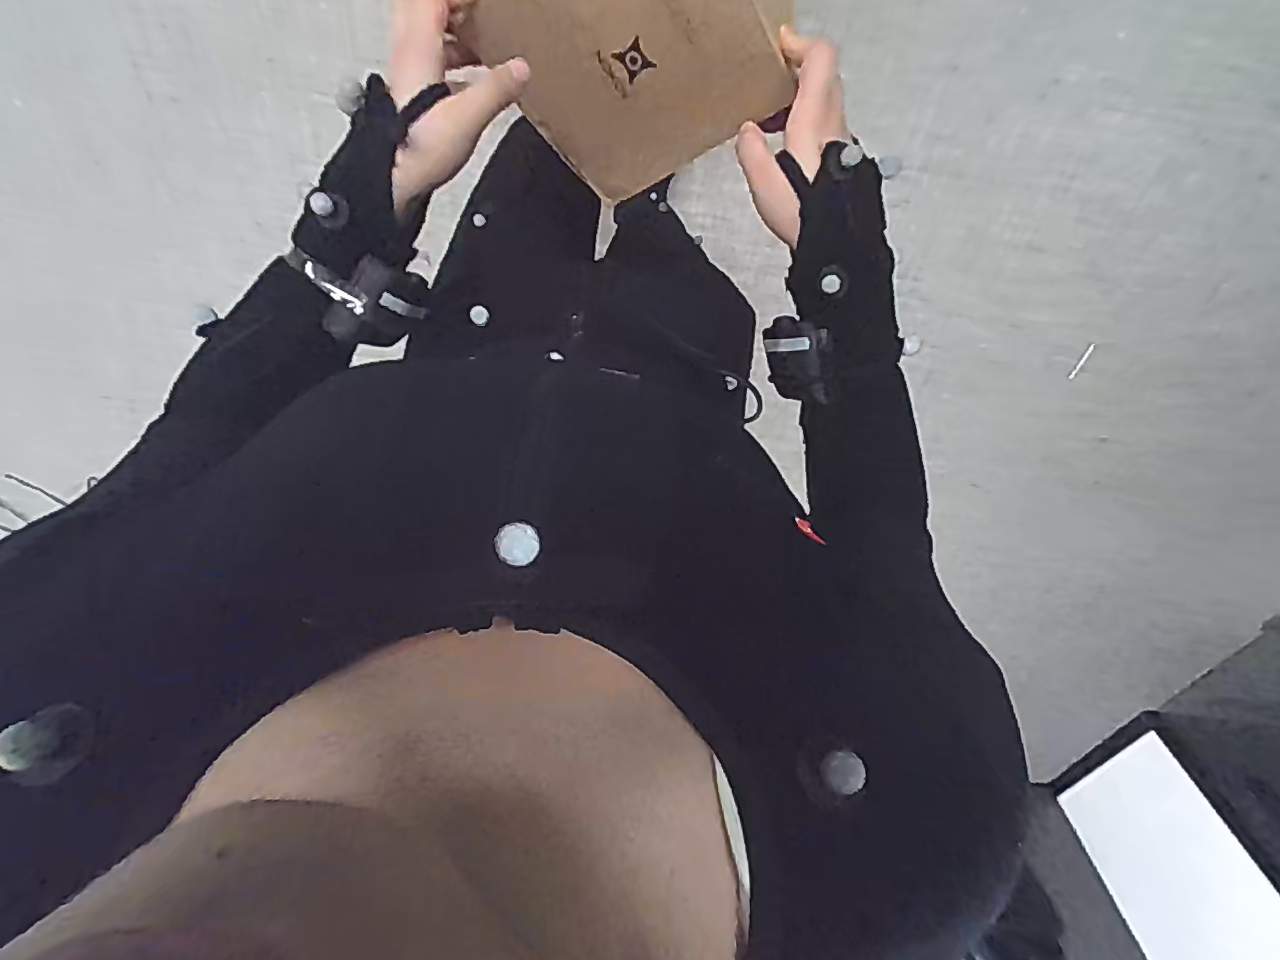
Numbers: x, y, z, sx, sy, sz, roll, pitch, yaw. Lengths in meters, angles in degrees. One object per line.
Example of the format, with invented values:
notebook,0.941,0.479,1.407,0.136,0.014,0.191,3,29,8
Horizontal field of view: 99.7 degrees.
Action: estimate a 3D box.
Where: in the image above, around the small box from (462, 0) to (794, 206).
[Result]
small box,0.003,-0.357,0.401,0.179,0.176,0.168,-11,152,35
